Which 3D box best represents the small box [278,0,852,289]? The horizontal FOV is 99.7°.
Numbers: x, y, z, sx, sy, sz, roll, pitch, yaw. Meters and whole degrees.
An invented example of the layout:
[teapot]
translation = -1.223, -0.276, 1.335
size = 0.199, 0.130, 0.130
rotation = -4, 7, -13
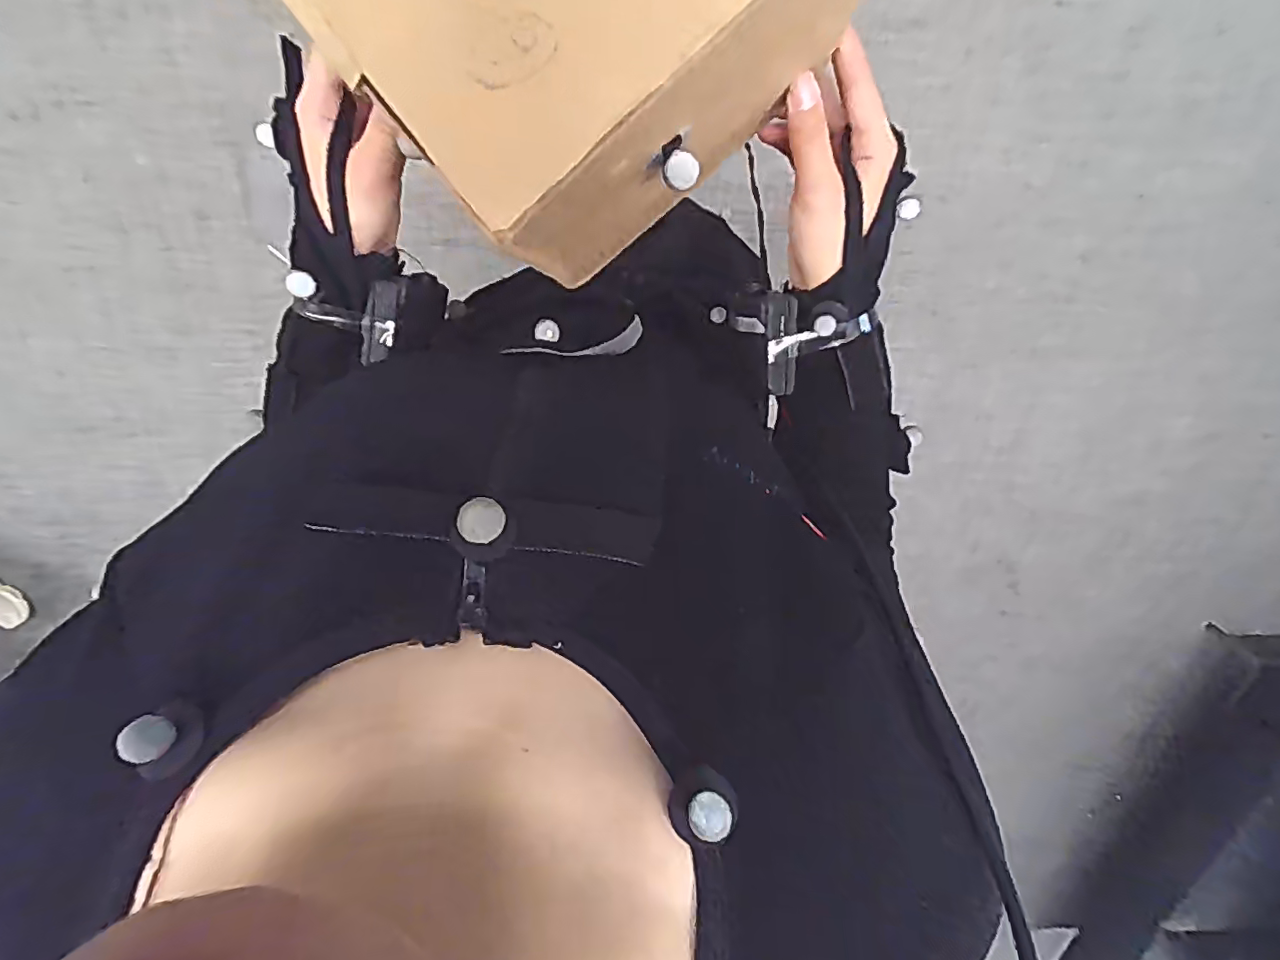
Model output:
[small box]
translation = -0.026, -0.201, 0.222
size = 0.179, 0.176, 0.168
rotation = -37, 100, 11
